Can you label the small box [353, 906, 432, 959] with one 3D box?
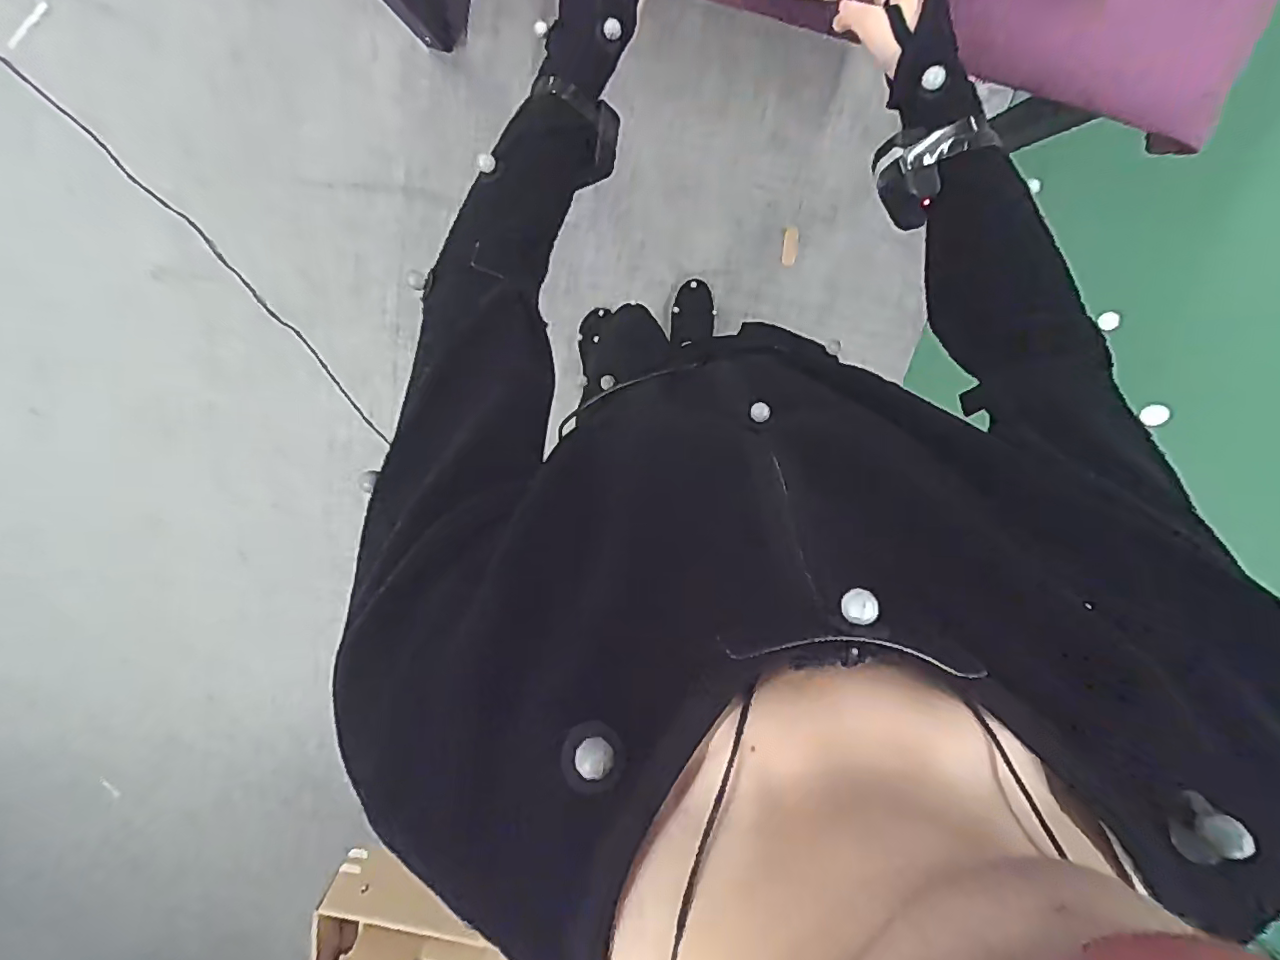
[{"bbox_3d":[-0.682,1.306,1.458,0.168,0.176,0.179,19,108,-2],"label":"small box"}]
